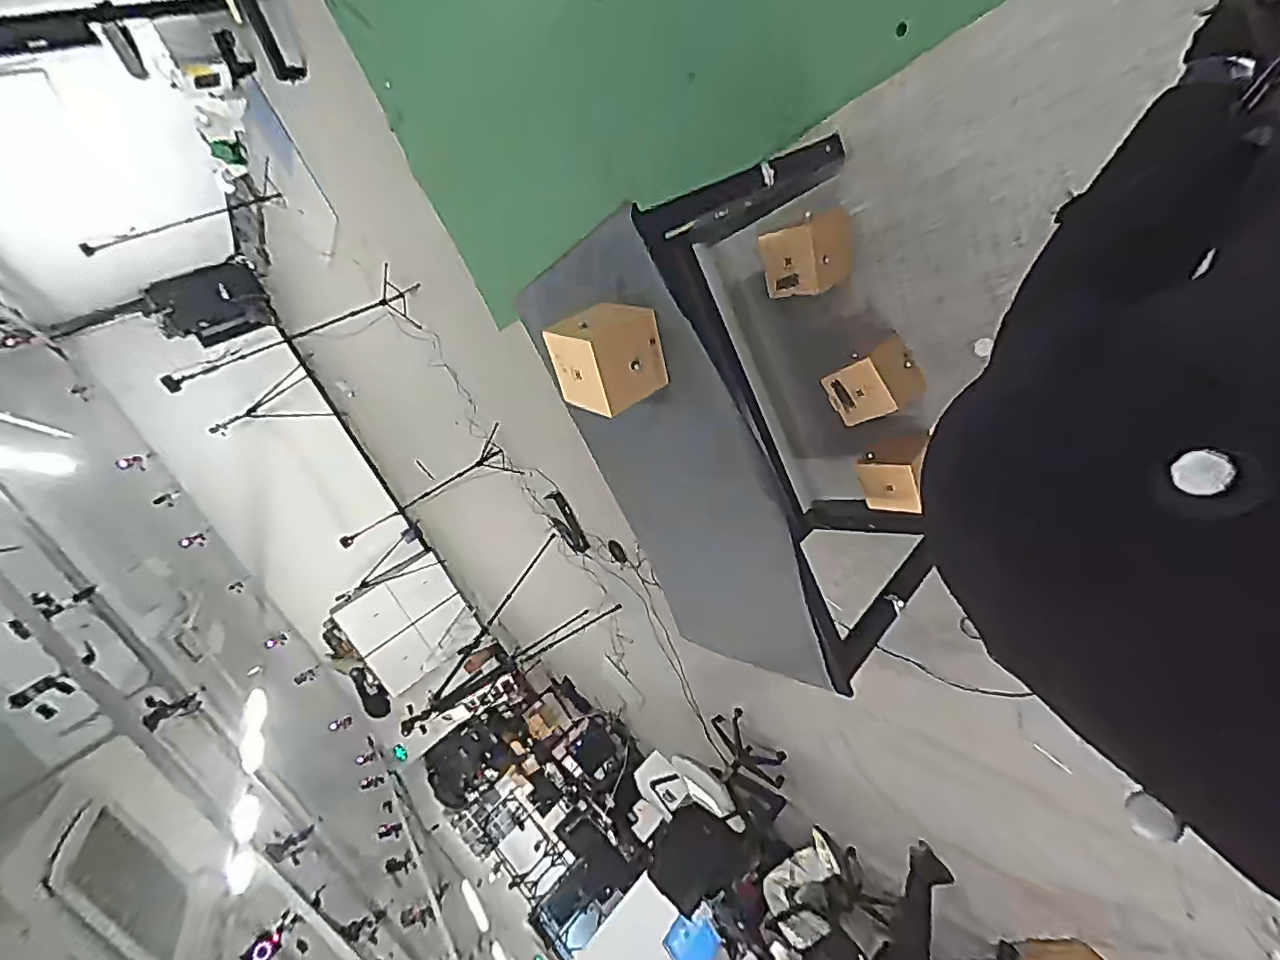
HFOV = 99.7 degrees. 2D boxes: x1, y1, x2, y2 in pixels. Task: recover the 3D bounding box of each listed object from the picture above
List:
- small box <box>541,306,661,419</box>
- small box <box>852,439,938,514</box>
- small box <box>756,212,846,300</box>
[{"bbox_3d":[-0.072,-0.252,1.132,0.179,0.176,0.168,25,140,44],"label":"small box"},{"bbox_3d":[0.786,-0.015,1.651,0.179,0.176,0.168,4,125,54],"label":"small box"},{"bbox_3d":[0.450,-0.616,1.492,0.168,0.176,0.179,15,131,47],"label":"small box"}]
